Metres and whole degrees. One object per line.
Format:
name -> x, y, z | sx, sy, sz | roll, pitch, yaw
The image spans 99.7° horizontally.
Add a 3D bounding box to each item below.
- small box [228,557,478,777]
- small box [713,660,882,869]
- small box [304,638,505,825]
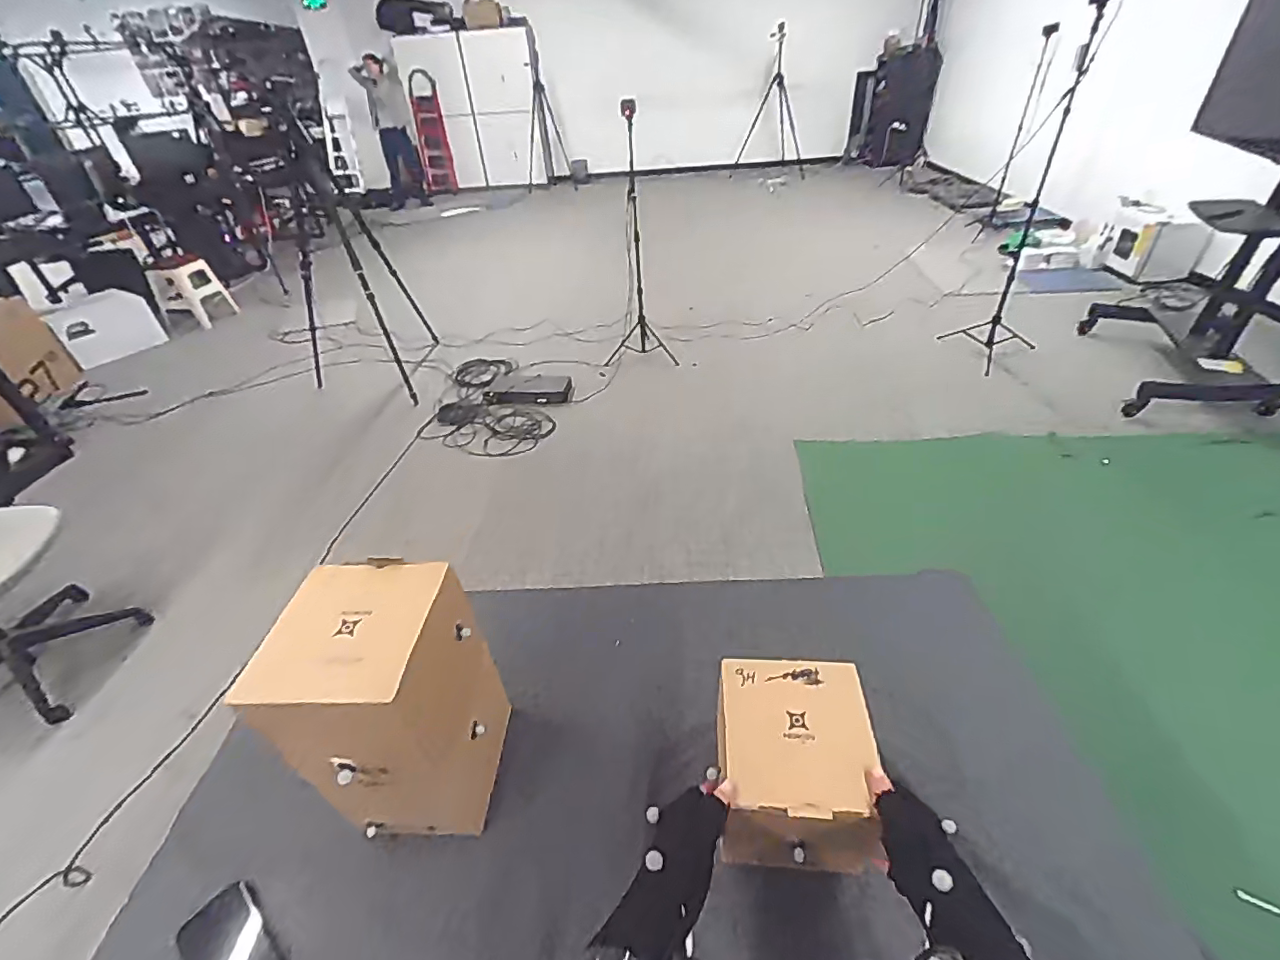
small box -> -0.297, 0.207, 0.611 | 0.168, 0.176, 0.179 | -2, 39, 4
small box -> 0.175, 0.345, 0.659 | 0.168, 0.176, 0.179 | 1, 39, 6
small box -> -0.289, 0.331, 0.715 | 0.168, 0.176, 0.179 | 0, 37, 4
